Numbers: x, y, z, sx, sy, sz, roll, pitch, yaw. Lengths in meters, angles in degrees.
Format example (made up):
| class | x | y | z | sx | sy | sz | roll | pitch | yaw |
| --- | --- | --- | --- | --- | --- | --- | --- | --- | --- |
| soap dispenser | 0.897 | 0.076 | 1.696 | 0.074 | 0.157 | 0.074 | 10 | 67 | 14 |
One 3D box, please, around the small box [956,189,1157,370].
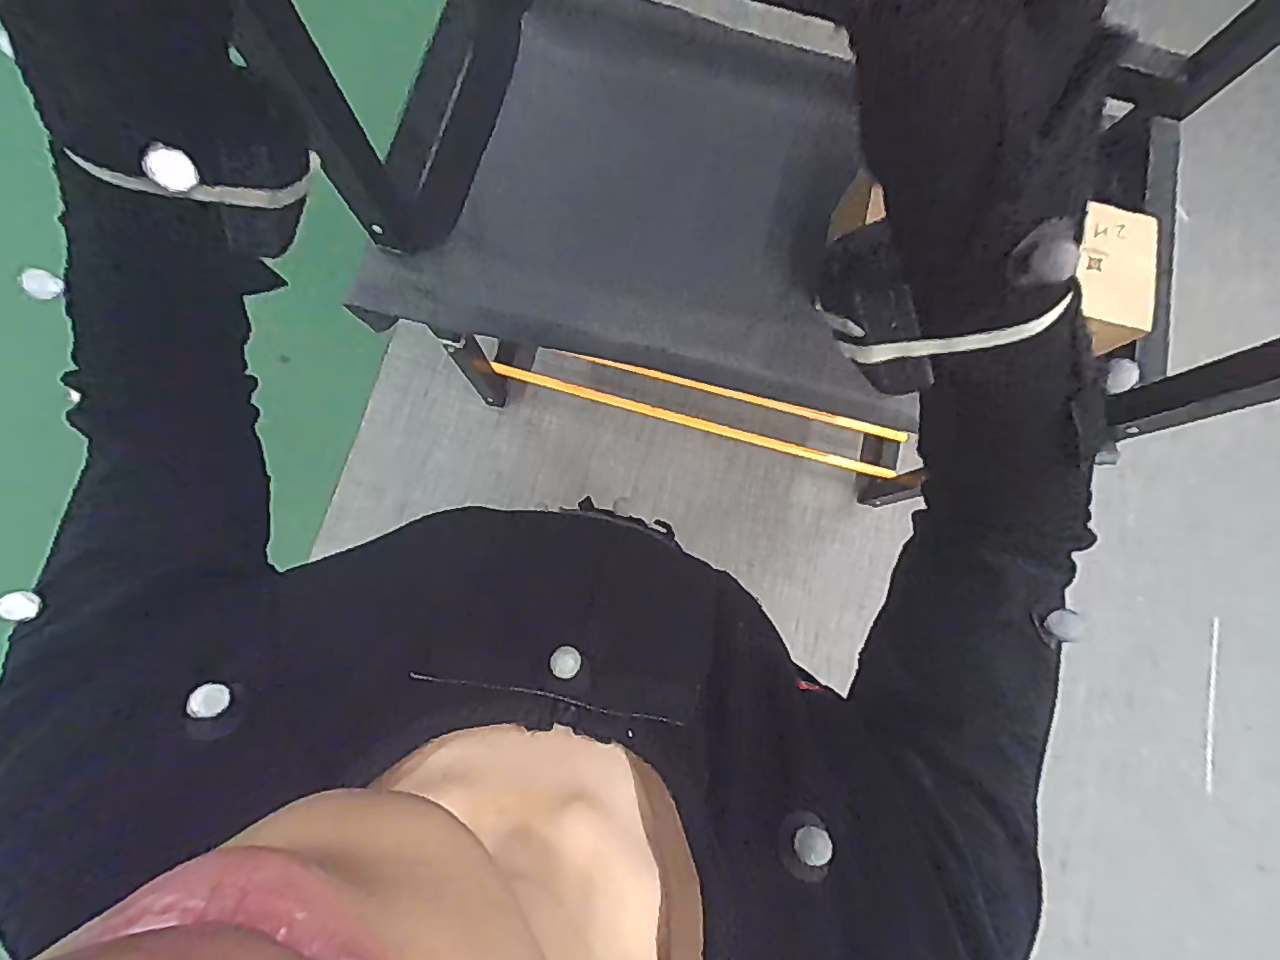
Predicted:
| class | x | y | z | sx | sy | sz | roll | pitch | yaw |
| --- | --- | --- | --- | --- | --- | --- | --- | --- | --- |
| small box | 0.603 | -0.284 | 0.802 | 0.168 | 0.176 | 0.179 | 13 | 79 | -1 |
